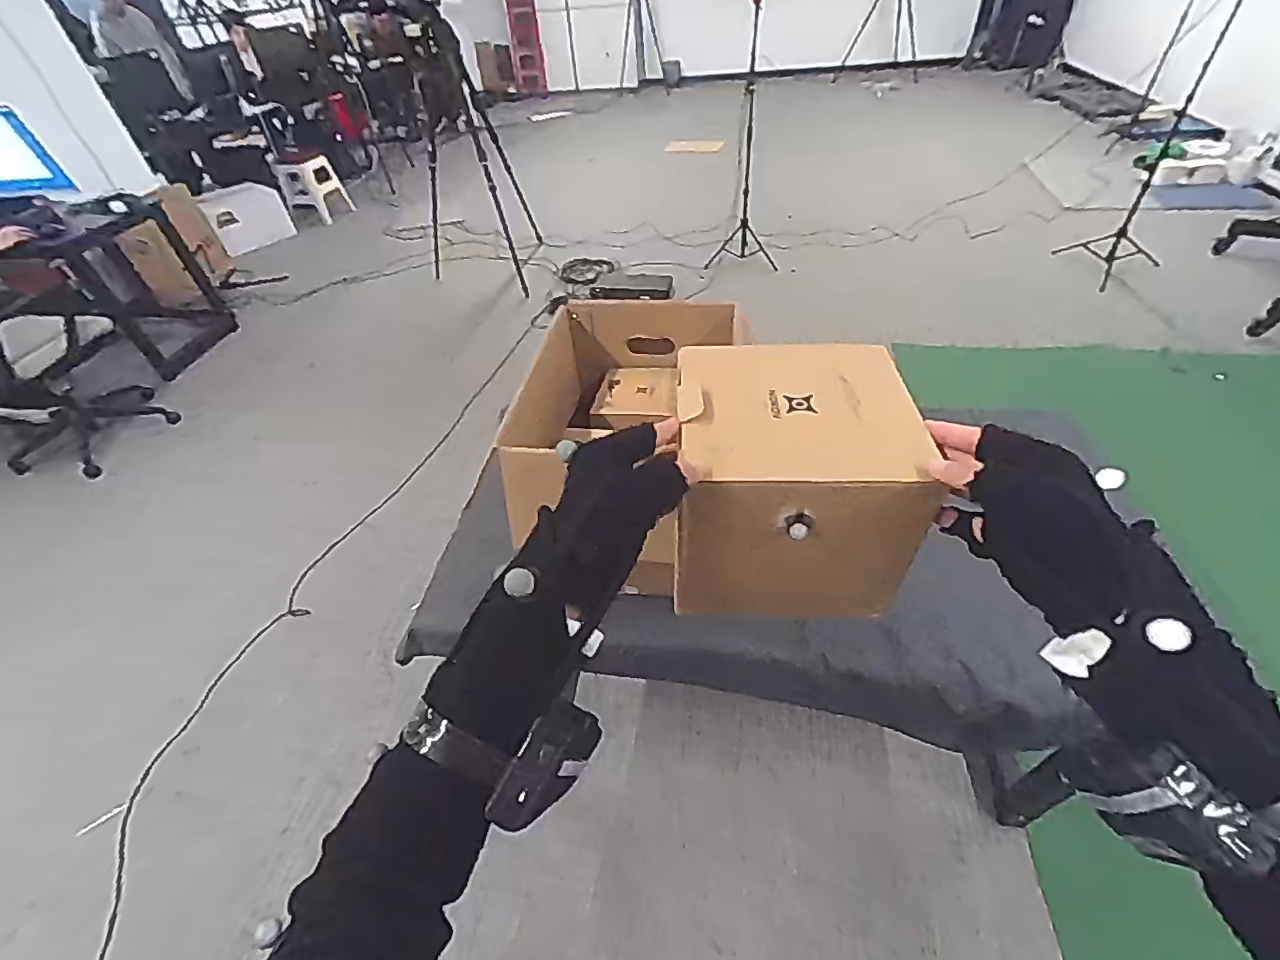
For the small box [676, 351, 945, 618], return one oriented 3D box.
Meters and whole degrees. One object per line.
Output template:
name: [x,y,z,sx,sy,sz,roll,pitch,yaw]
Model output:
small box: [0.119,0.005,0.466,0.179,0.176,0.168,1,45,3]
